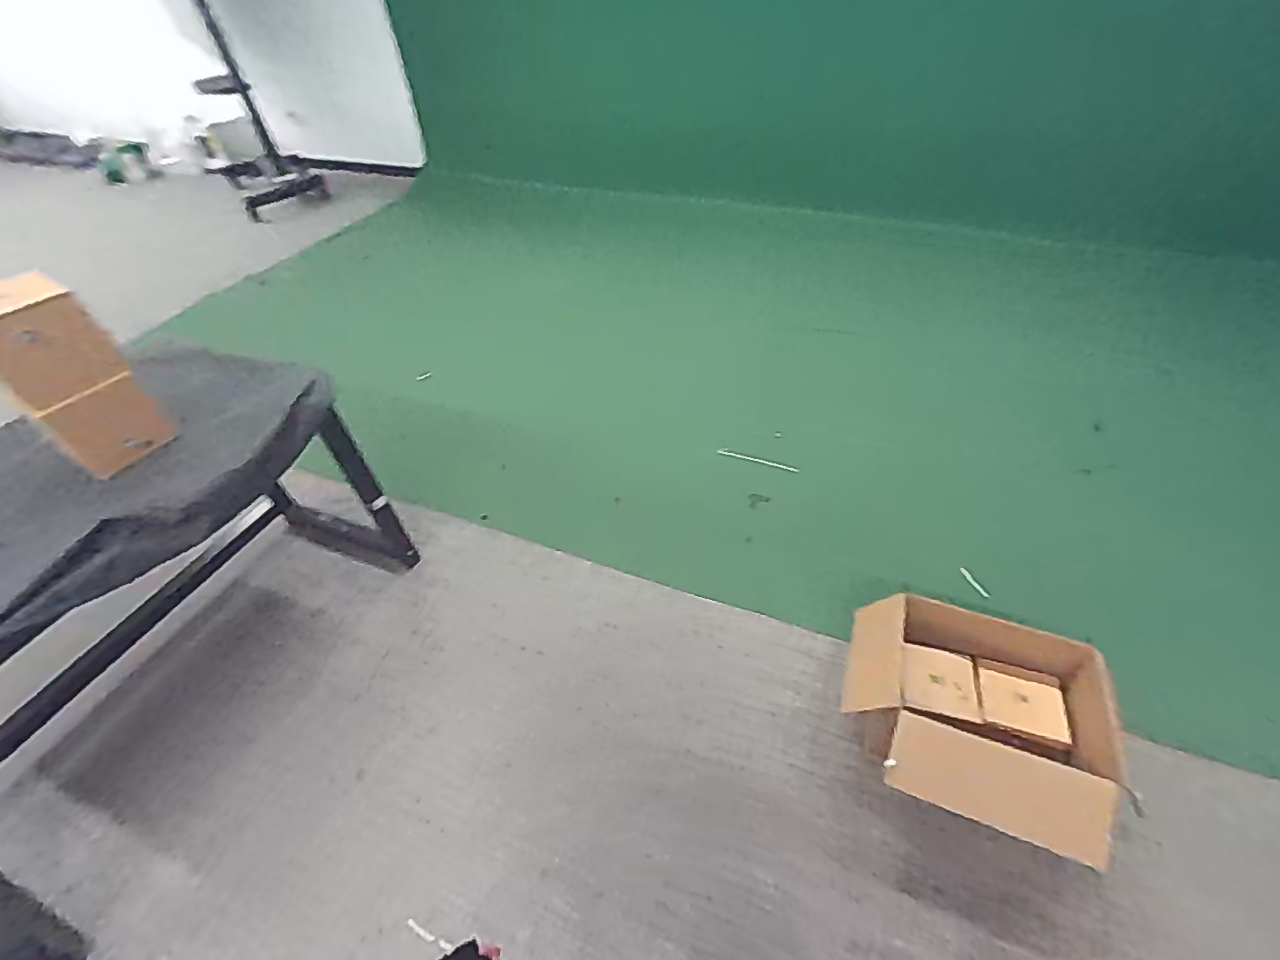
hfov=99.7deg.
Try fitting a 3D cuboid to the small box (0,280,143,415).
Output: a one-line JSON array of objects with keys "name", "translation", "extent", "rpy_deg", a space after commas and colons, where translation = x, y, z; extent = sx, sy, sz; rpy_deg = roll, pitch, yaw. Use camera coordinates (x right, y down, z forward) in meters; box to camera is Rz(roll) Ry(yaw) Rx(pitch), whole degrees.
[{"name": "small box", "translation": [-1.124, -0.251, 1.029], "extent": [0.168, 0.176, 0.179], "rpy_deg": [24, 51, 23]}]
